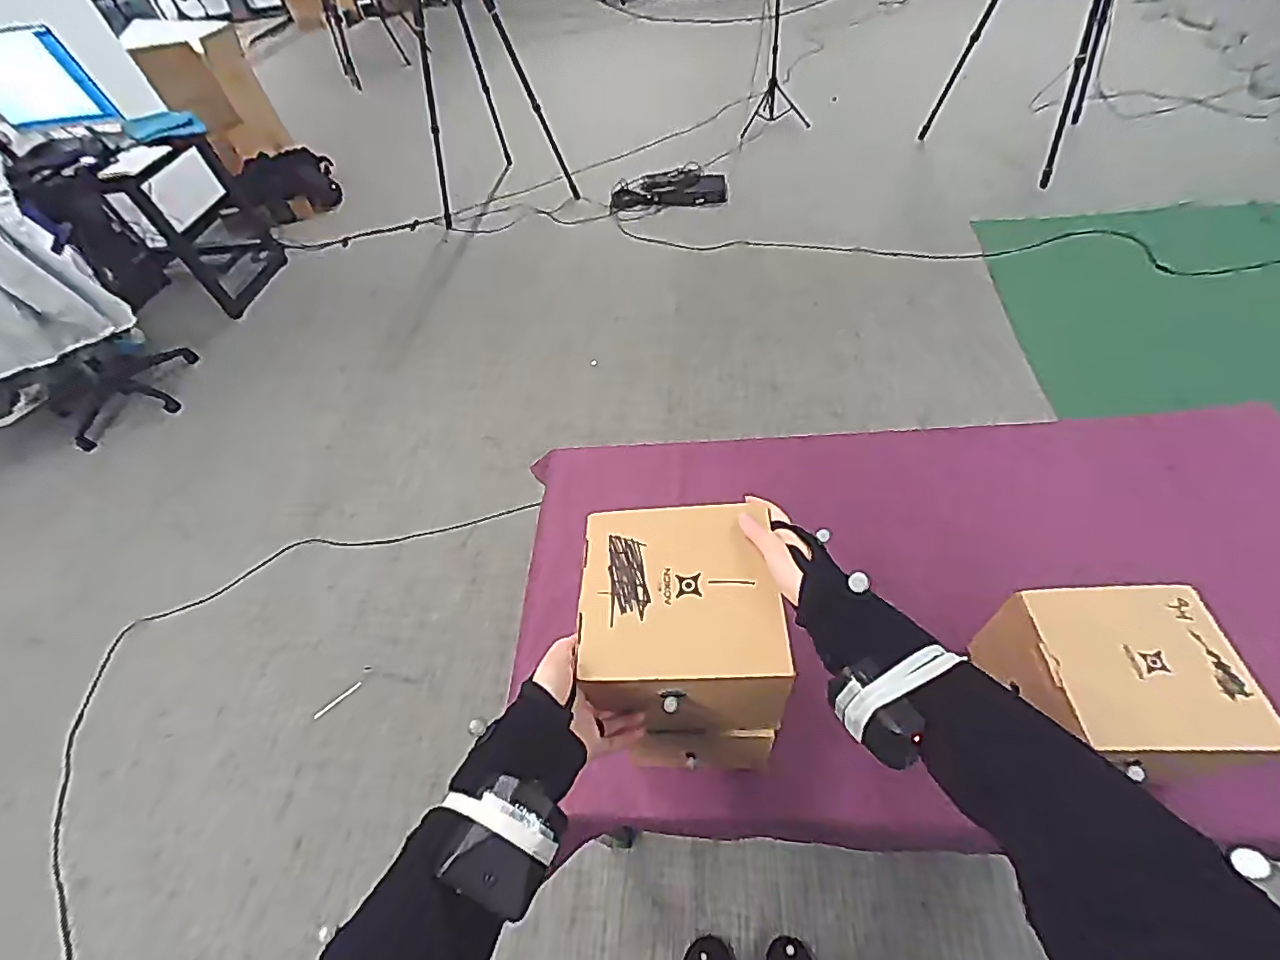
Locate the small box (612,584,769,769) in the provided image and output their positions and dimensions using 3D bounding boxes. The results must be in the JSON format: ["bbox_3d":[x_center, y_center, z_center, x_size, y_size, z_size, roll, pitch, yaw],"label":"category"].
[{"bbox_3d":[0.066,0.245,0.664,0.168,0.176,0.179,-2,51,7],"label":"small box"}]

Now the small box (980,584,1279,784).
[{"bbox_3d":[0.509,0.230,0.600,0.179,0.176,0.168,-4,52,8],"label":"small box"}]
